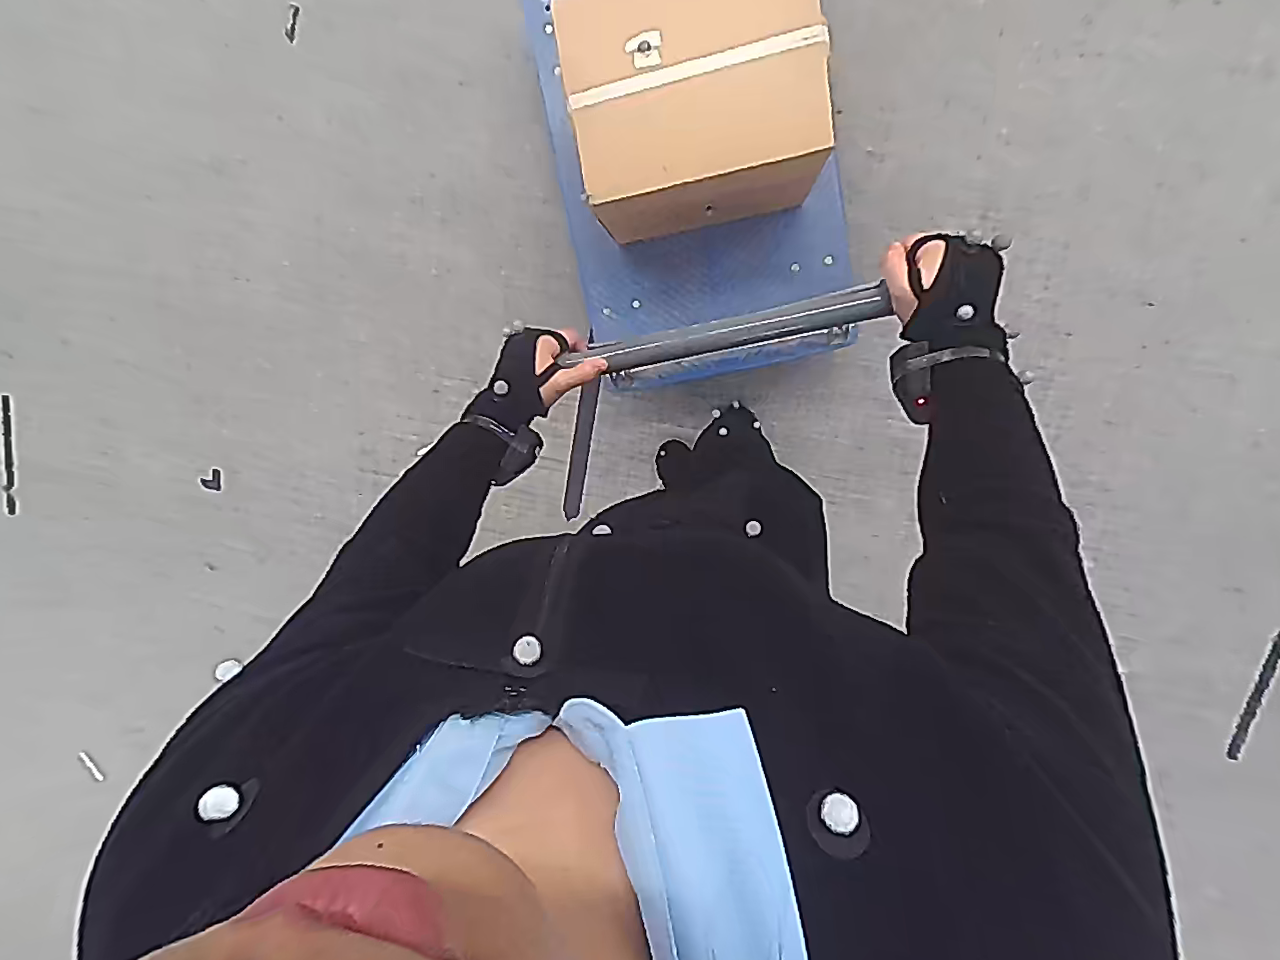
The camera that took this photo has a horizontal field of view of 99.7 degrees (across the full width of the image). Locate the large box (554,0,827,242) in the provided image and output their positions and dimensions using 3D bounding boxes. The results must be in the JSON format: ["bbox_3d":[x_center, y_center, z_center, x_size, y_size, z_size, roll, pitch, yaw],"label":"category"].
[{"bbox_3d":[0.101,-0.677,1.011,0.408,0.320,0.320,-9,99,10],"label":"large box"}]
